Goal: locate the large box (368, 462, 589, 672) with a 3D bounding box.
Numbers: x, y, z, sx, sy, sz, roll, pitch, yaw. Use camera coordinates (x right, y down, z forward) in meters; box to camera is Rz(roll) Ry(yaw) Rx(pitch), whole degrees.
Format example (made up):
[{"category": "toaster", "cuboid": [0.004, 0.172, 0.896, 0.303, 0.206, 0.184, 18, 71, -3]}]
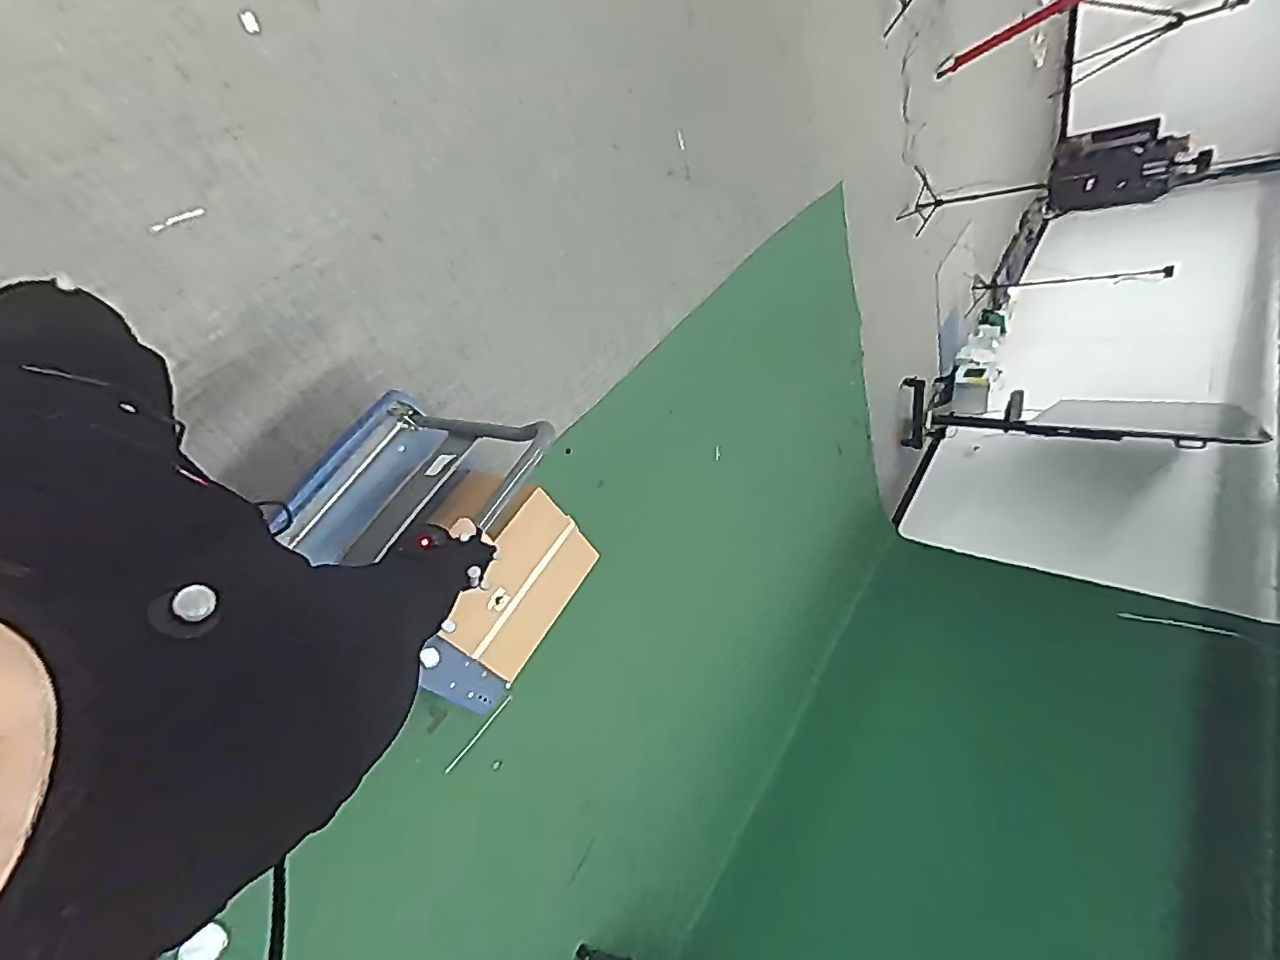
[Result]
[{"category": "large box", "cuboid": [-0.415, 0.214, 1.433, 0.408, 0.320, 0.320, -55, 133, -23]}]
